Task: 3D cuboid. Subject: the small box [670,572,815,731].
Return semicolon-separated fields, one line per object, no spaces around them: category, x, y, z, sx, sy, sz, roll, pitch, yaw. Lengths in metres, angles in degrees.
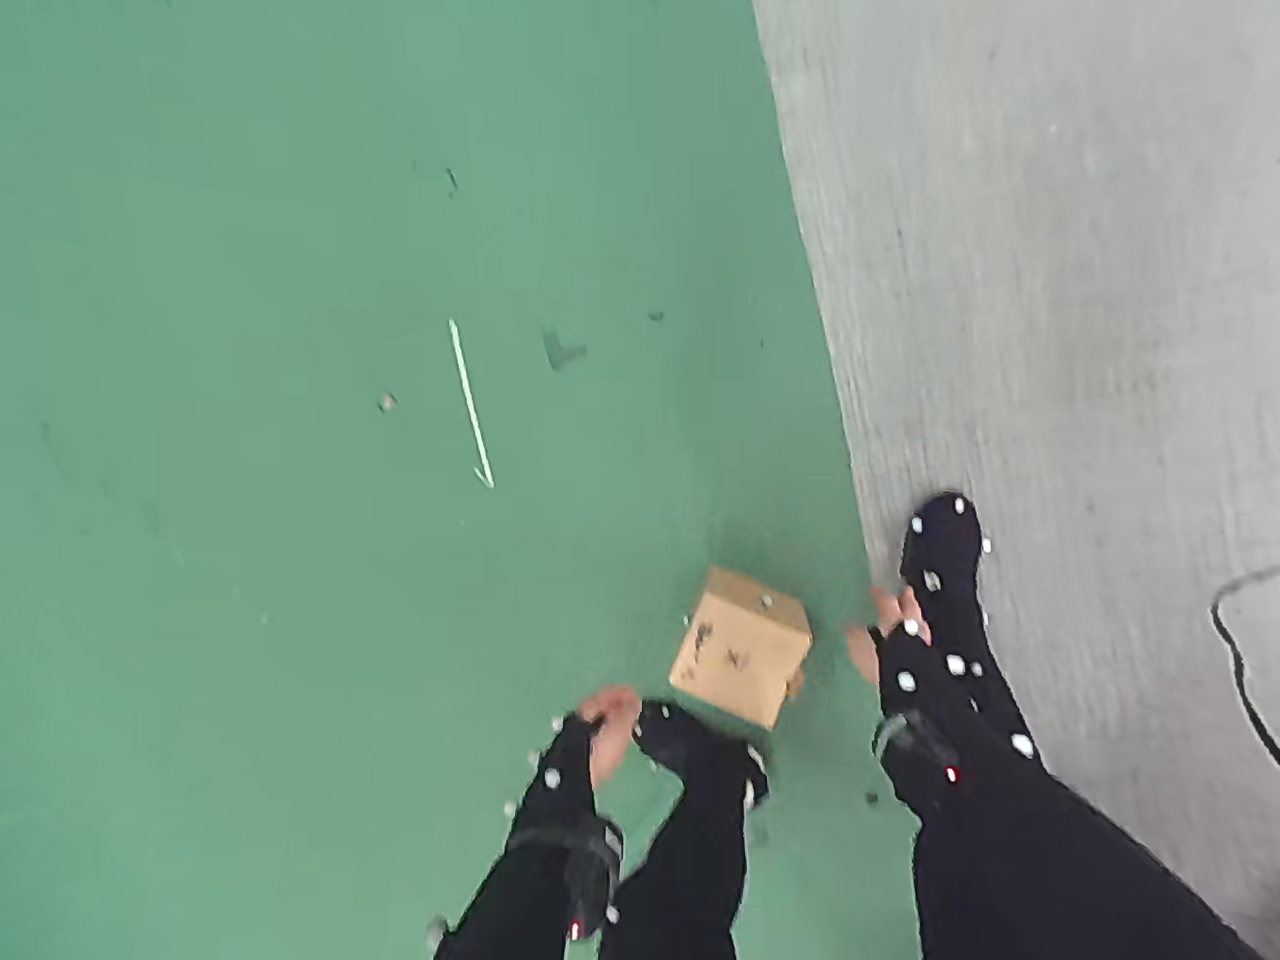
small box;0.169;0.274;0.907;0.179;0.176;0.168;23;100;7
